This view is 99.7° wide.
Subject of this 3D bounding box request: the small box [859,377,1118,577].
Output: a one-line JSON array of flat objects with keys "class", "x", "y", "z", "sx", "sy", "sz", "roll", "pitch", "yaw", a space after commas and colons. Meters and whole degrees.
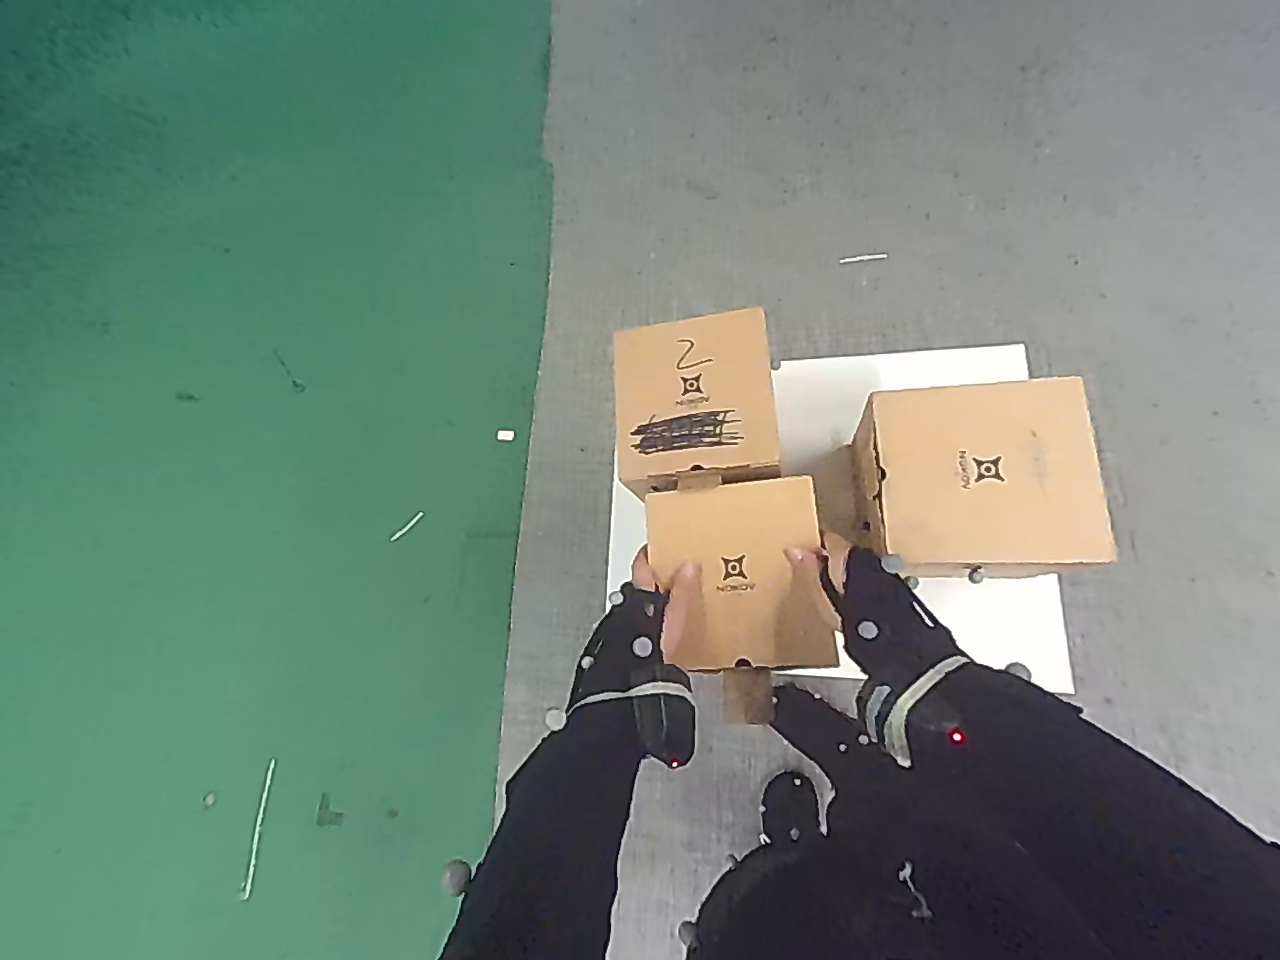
[{"class": "small box", "x": 0.325, "y": 0.011, "z": 0.550, "sx": 0.179, "sy": 0.176, "sz": 0.168, "roll": -2, "pitch": 76, "yaw": 14}]
